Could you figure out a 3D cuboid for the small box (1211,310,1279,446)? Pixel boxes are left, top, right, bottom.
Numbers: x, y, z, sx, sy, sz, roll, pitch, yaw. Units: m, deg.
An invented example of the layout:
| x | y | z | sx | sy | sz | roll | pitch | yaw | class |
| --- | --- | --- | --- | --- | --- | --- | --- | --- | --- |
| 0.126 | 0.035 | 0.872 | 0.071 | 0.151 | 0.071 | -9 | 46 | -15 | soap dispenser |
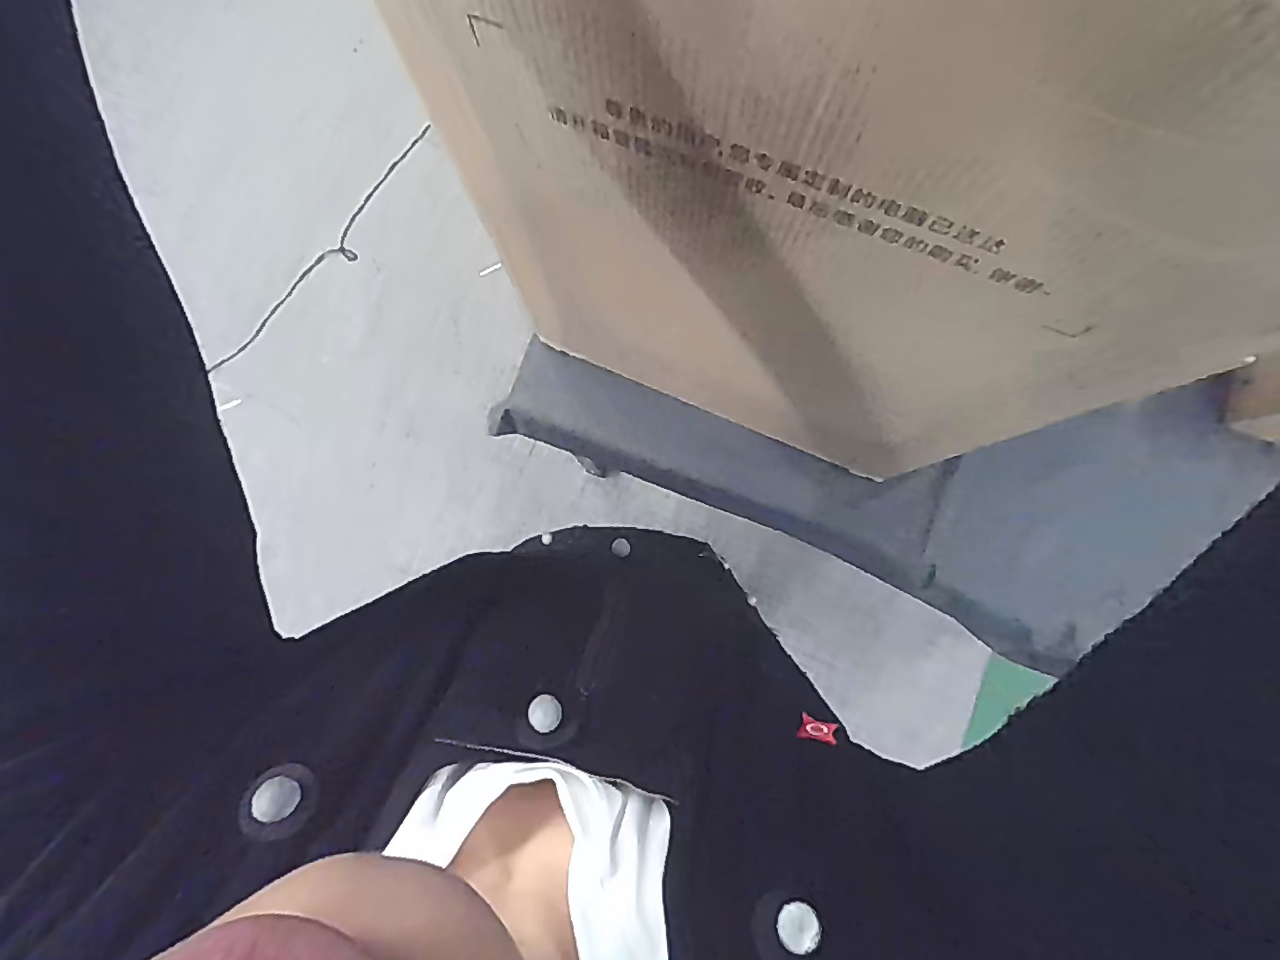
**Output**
| x | y | z | sx | sy | sz | roll | pitch | yaw | class |
| --- | --- | --- | --- | --- | --- | --- | --- | --- | --- |
| 0.921 | -0.137 | 0.694 | 0.179 | 0.176 | 0.168 | 22 | 83 | 4 | small box |
